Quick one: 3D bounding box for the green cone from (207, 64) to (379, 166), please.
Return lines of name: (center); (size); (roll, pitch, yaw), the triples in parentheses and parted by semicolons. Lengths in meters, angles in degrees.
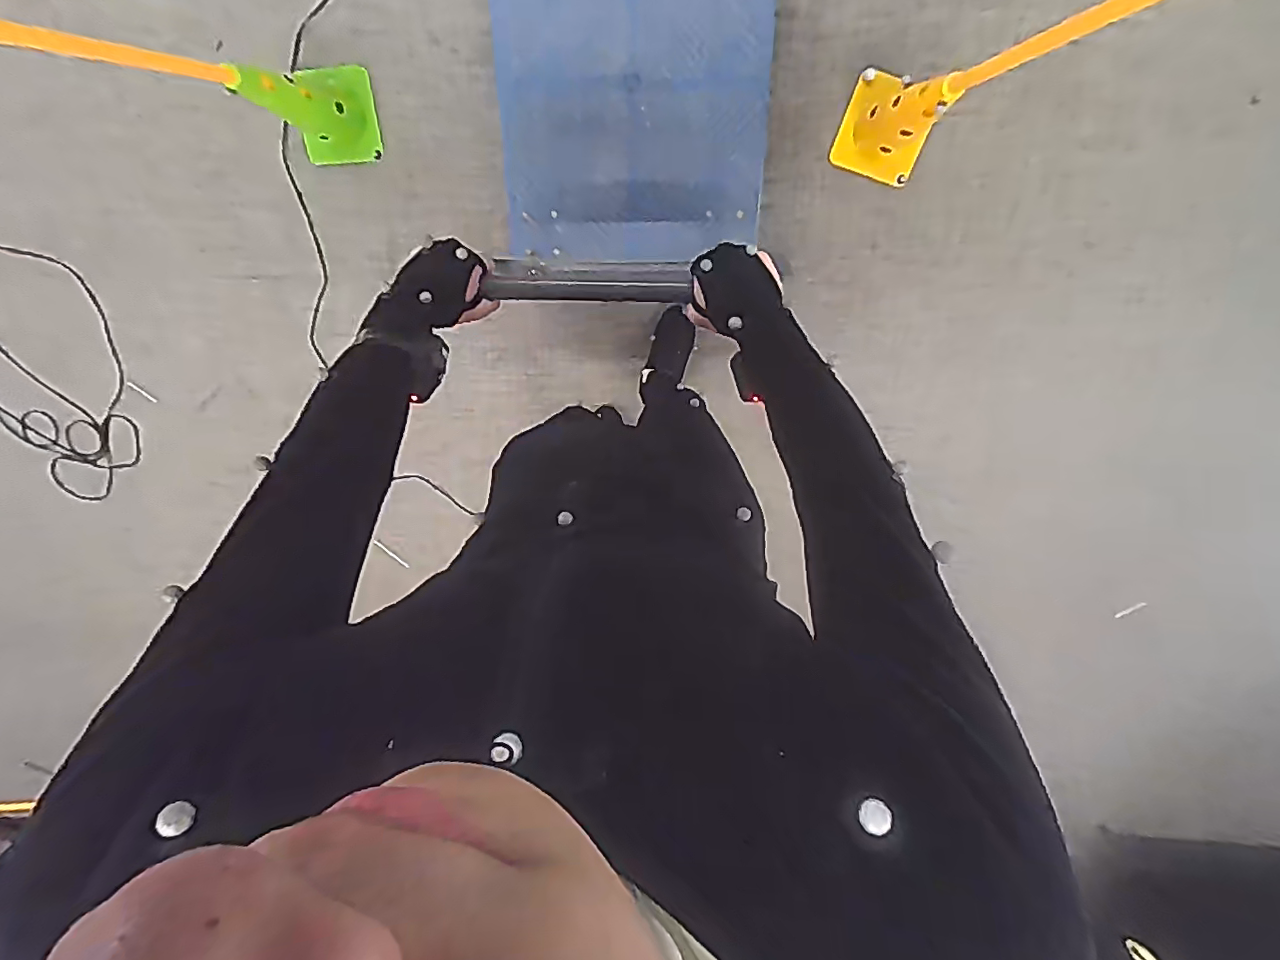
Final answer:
green cone: (-0.774, -0.832, 1.180); (0.202, 0.368, 0.200); (-1, 112, 7)
